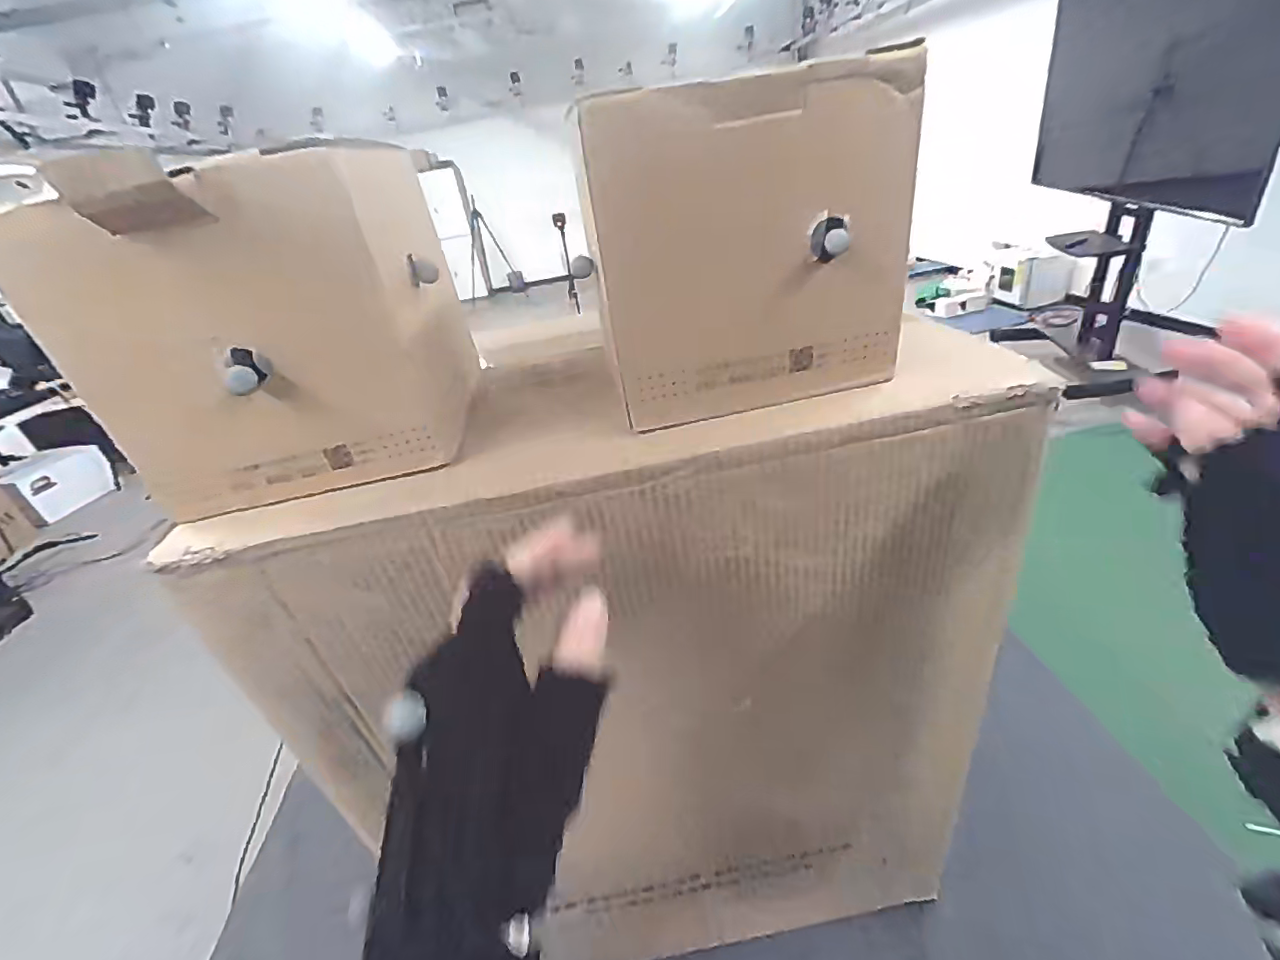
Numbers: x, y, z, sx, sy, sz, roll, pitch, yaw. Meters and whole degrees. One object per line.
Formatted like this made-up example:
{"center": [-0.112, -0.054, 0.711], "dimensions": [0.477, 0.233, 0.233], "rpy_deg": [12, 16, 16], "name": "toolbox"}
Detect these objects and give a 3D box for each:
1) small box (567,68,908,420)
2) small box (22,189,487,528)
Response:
{"center": [0.049, -0.149, 0.363], "dimensions": [0.168, 0.176, 0.179], "rpy_deg": [-10, 30, -3], "name": "small box"}
{"center": [-0.212, -0.084, 0.369], "dimensions": [0.168, 0.176, 0.179], "rpy_deg": [-15, 32, -4], "name": "small box"}
